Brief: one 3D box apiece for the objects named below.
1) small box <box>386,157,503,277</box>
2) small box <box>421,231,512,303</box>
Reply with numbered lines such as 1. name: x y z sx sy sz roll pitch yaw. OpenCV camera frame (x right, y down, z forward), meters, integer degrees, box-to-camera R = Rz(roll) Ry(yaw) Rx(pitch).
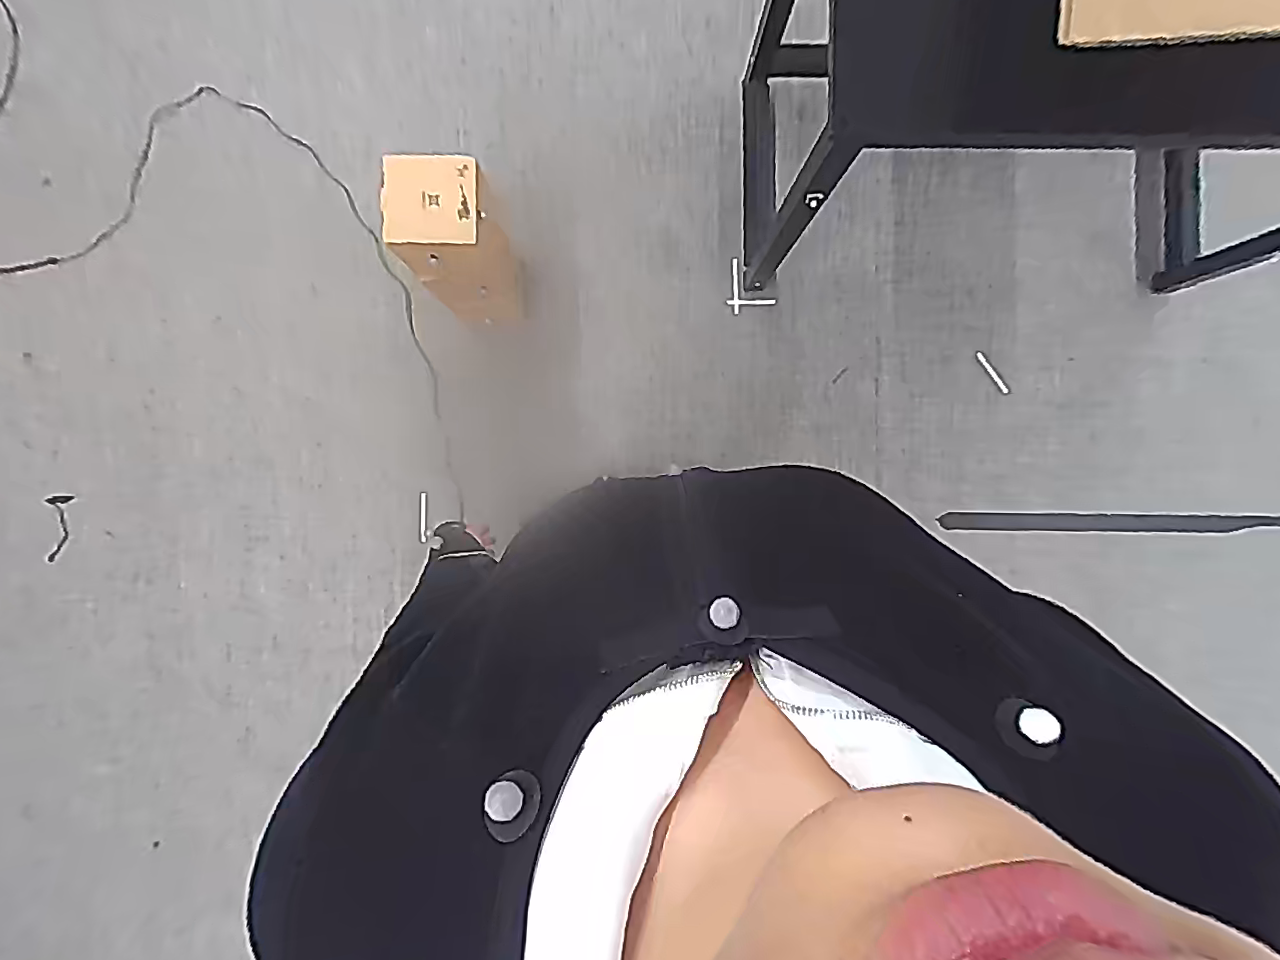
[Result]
1. small box: -0.386 -0.519 1.088 0.179 0.176 0.168 0 91 0
2. small box: -0.402 -0.522 1.252 0.168 0.176 0.179 -7 89 -1
